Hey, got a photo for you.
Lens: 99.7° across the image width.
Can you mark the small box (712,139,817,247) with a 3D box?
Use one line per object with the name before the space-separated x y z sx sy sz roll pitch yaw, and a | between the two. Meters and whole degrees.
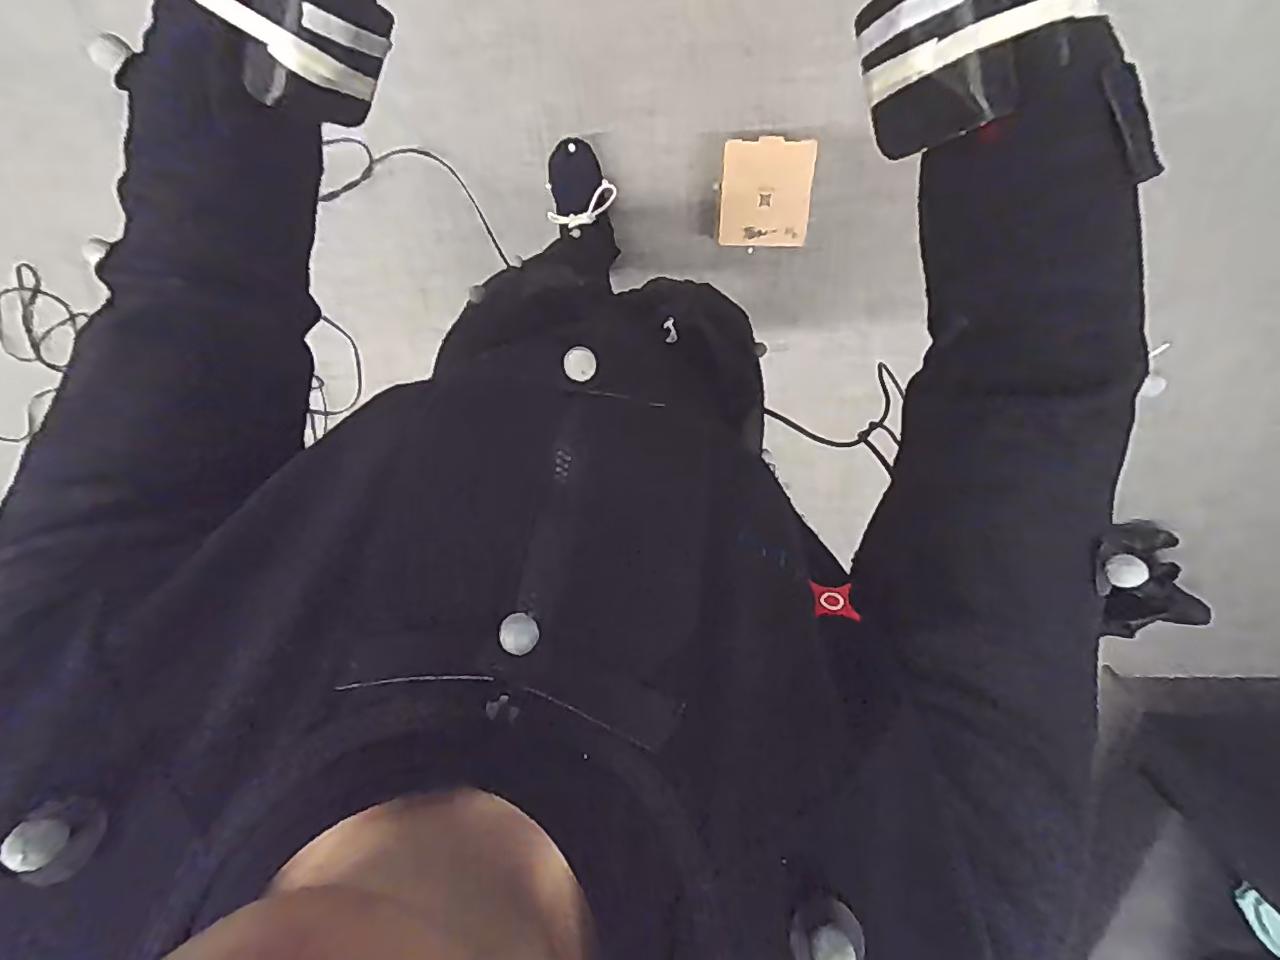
small box | 0.233 -0.558 1.063 0.168 0.176 0.179 1 116 2
